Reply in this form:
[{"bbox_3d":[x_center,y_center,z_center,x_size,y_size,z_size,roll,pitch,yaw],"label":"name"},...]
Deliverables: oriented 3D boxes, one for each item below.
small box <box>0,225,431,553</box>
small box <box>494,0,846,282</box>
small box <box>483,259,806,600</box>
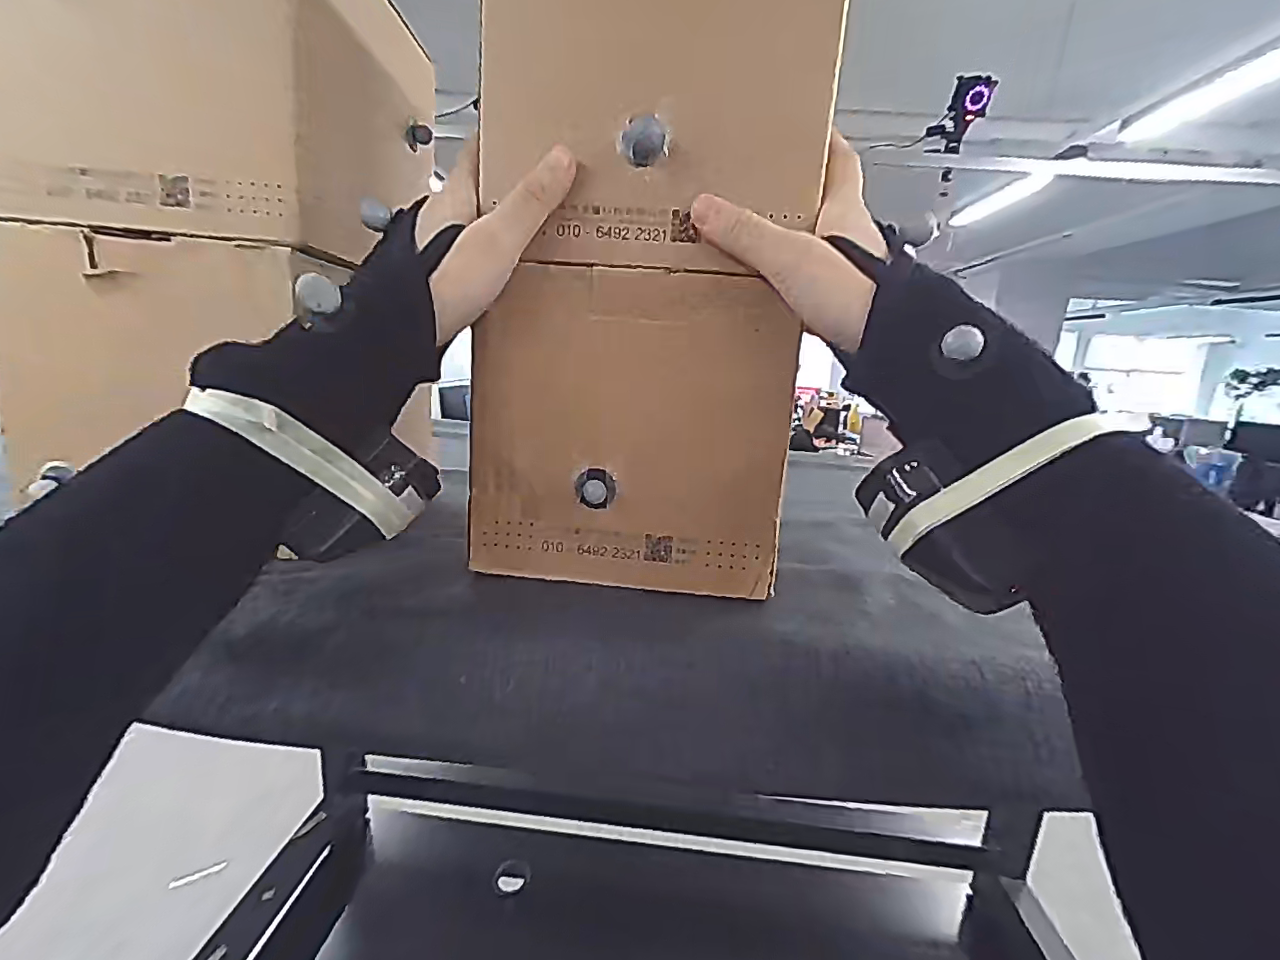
[{"bbox_3d":[-0.255,-0.057,0.368,0.168,0.176,0.179,5,10,1],"label":"small box"},{"bbox_3d":[0.015,-0.198,0.331,0.168,0.176,0.179,5,12,4],"label":"small box"},{"bbox_3d":[0.000,-0.036,0.362,0.168,0.176,0.179,4,11,3],"label":"small box"}]
